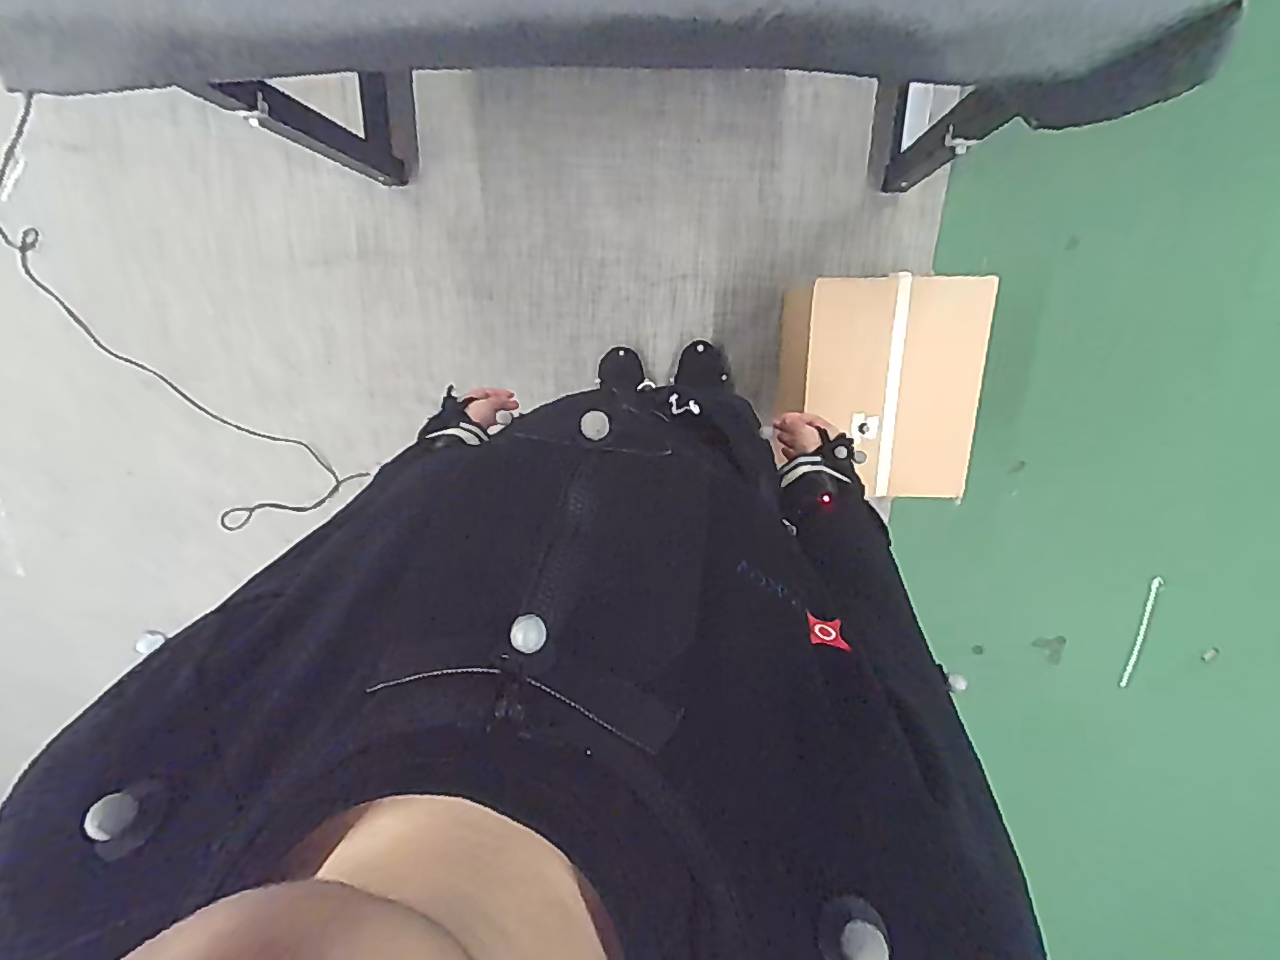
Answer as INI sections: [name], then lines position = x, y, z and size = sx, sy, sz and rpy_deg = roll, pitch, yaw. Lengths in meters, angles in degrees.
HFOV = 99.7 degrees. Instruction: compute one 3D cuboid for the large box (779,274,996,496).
[large box]
position = 0.477, -0.203, 1.132
size = 0.320, 0.320, 0.408
rpy_deg = 1, 105, 6
